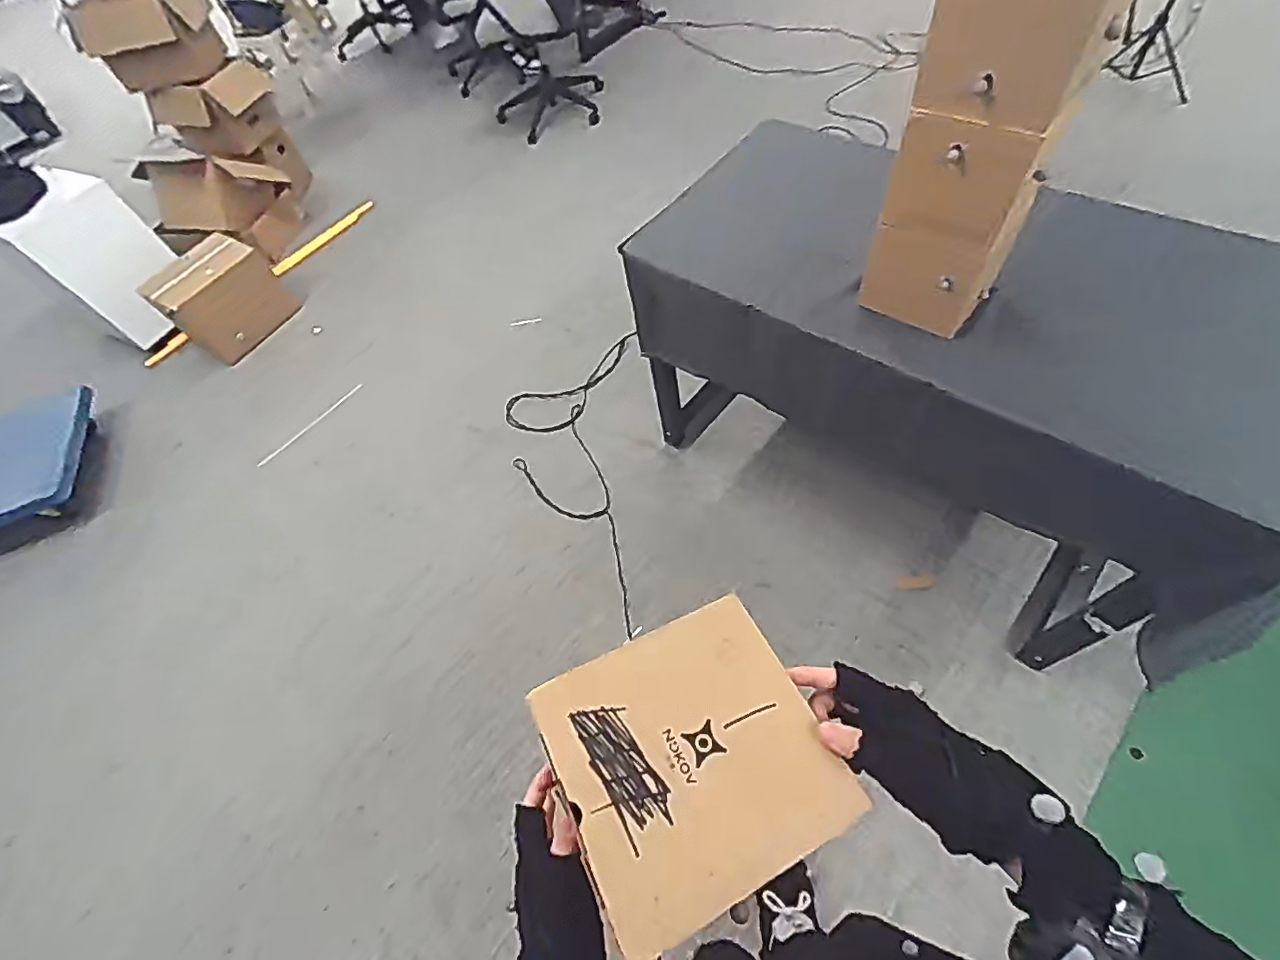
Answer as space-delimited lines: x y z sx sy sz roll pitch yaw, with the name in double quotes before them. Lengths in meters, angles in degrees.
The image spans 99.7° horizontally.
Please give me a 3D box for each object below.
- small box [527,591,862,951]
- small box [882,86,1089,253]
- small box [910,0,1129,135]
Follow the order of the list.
"small box" 0.030 0.223 0.426 0.179 0.176 0.168 -21 57 -18
"small box" 0.490 -0.464 0.794 0.179 0.176 0.168 33 68 26
"small box" 0.470 -0.556 0.659 0.179 0.176 0.168 36 69 26
